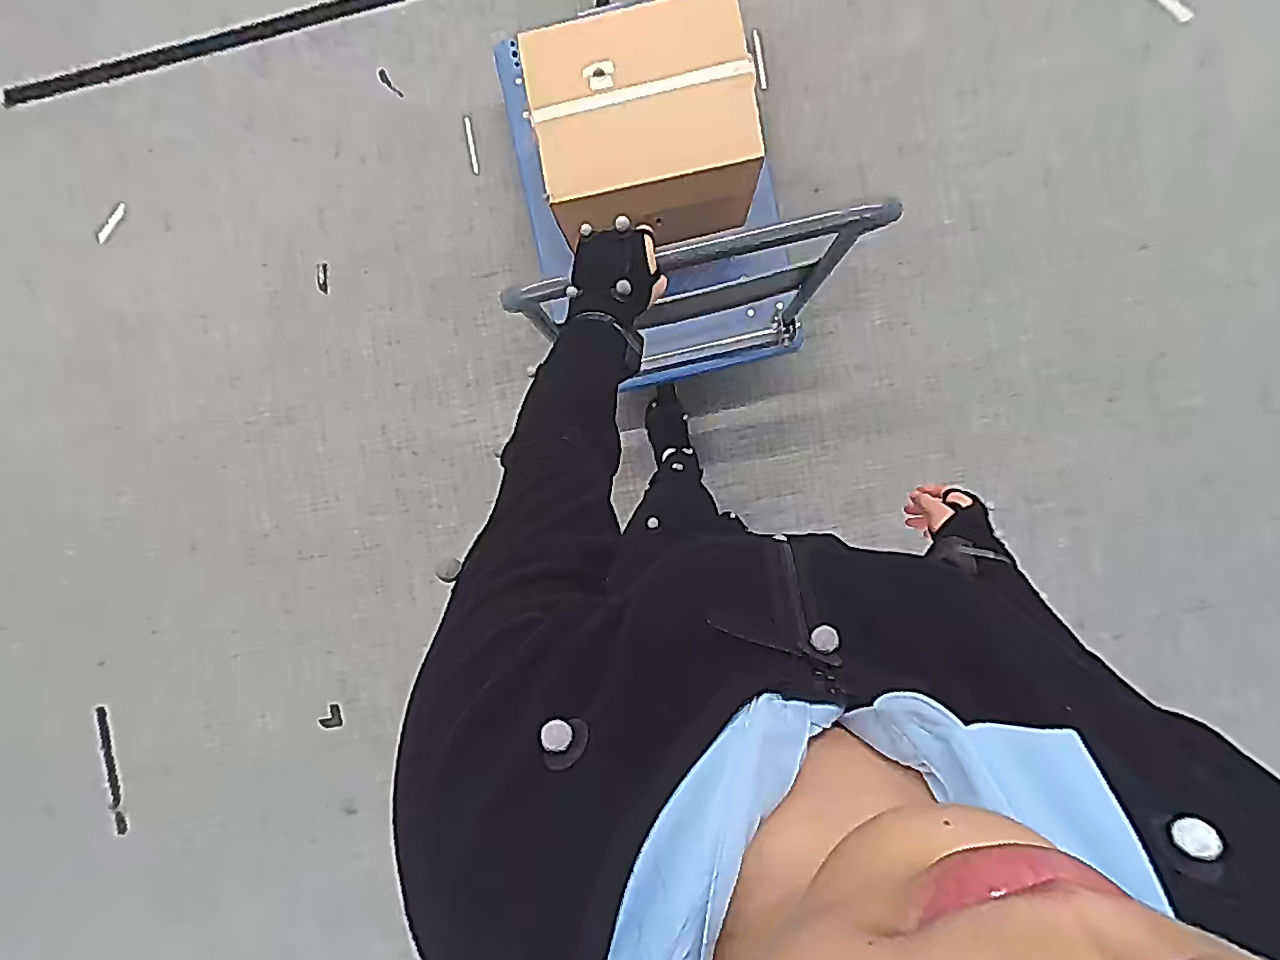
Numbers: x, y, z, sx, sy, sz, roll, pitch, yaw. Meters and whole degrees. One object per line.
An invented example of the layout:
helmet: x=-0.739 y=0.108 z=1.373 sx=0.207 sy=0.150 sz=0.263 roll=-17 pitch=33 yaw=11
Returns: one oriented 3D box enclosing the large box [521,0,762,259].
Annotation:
large box: x=0.013 y=-0.710 z=1.142 sx=0.408 sy=0.320 sz=0.320 roll=-11 pitch=91 yaw=5
